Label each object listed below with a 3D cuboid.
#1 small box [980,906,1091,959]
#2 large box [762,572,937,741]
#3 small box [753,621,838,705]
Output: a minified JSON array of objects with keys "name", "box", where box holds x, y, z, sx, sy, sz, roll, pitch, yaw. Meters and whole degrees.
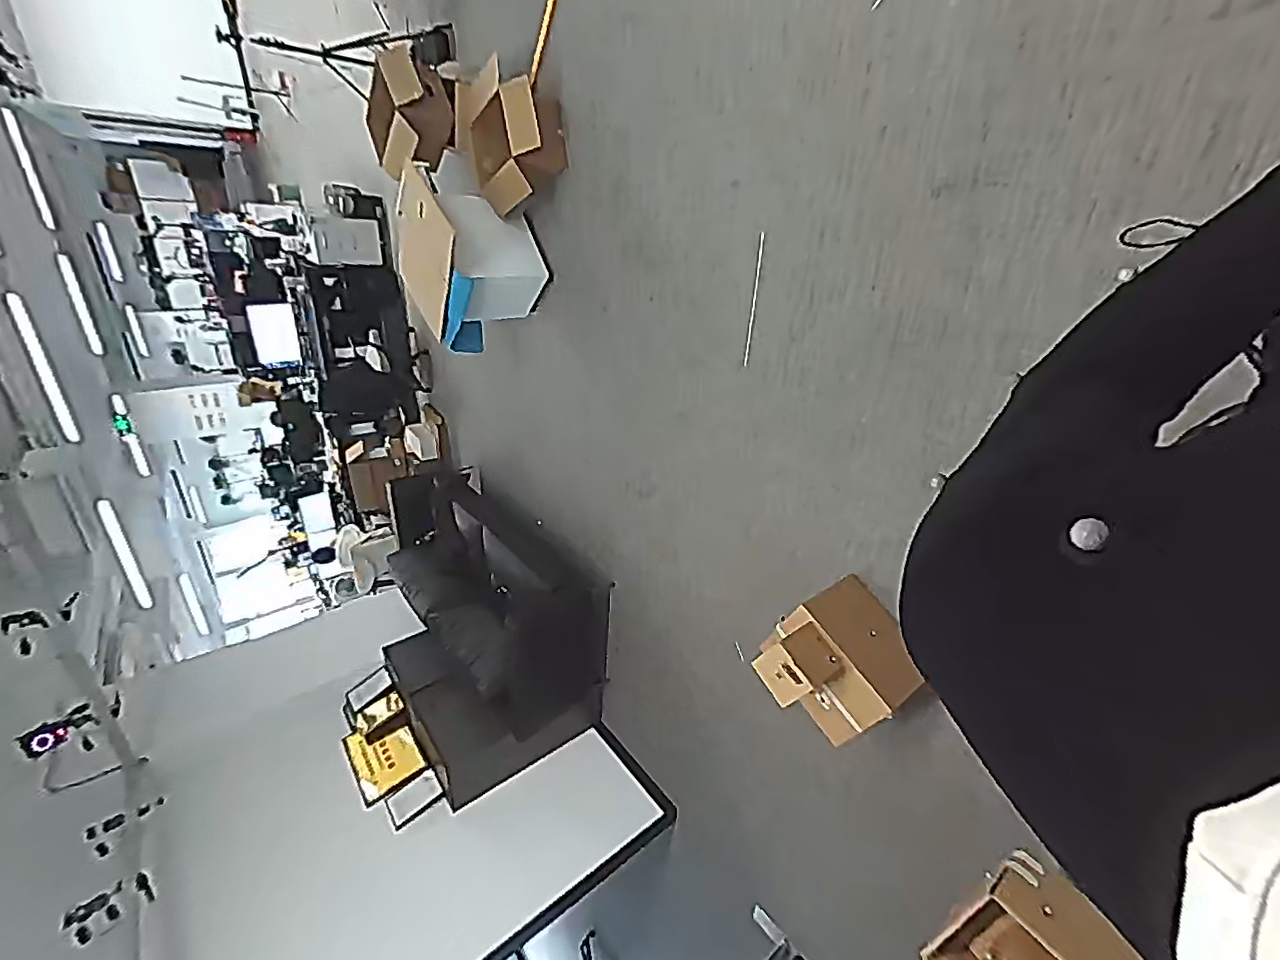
[{"name":"small box","box":[0.912,1.146,1.245,0.168,0.176,0.179,39,131,38]},{"name":"large box","box":[0.716,0.599,1.879,0.408,0.320,0.320,51,139,26]},{"name":"small box","box":[0.504,0.581,1.731,0.168,0.176,0.179,55,139,23]}]
